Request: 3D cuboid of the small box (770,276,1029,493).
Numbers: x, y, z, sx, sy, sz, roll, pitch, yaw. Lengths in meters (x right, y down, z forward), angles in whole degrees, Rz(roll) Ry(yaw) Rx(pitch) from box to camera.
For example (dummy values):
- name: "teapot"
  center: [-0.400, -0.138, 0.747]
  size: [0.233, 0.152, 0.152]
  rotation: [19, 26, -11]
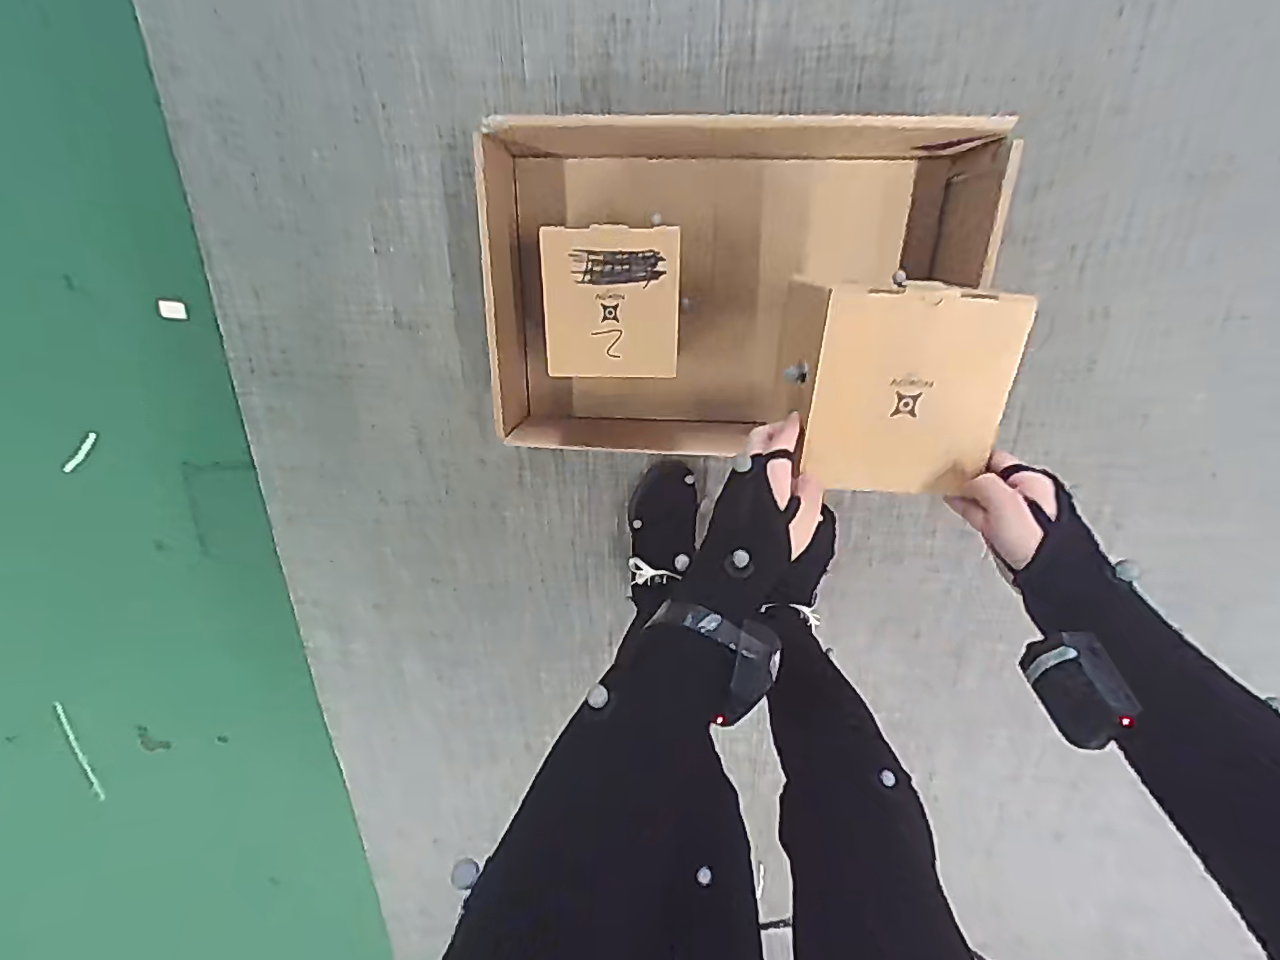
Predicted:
- name: "small box"
  center: [0.232, -0.104, 0.540]
  size: [0.168, 0.176, 0.179]
  rotation: [3, 112, 2]
